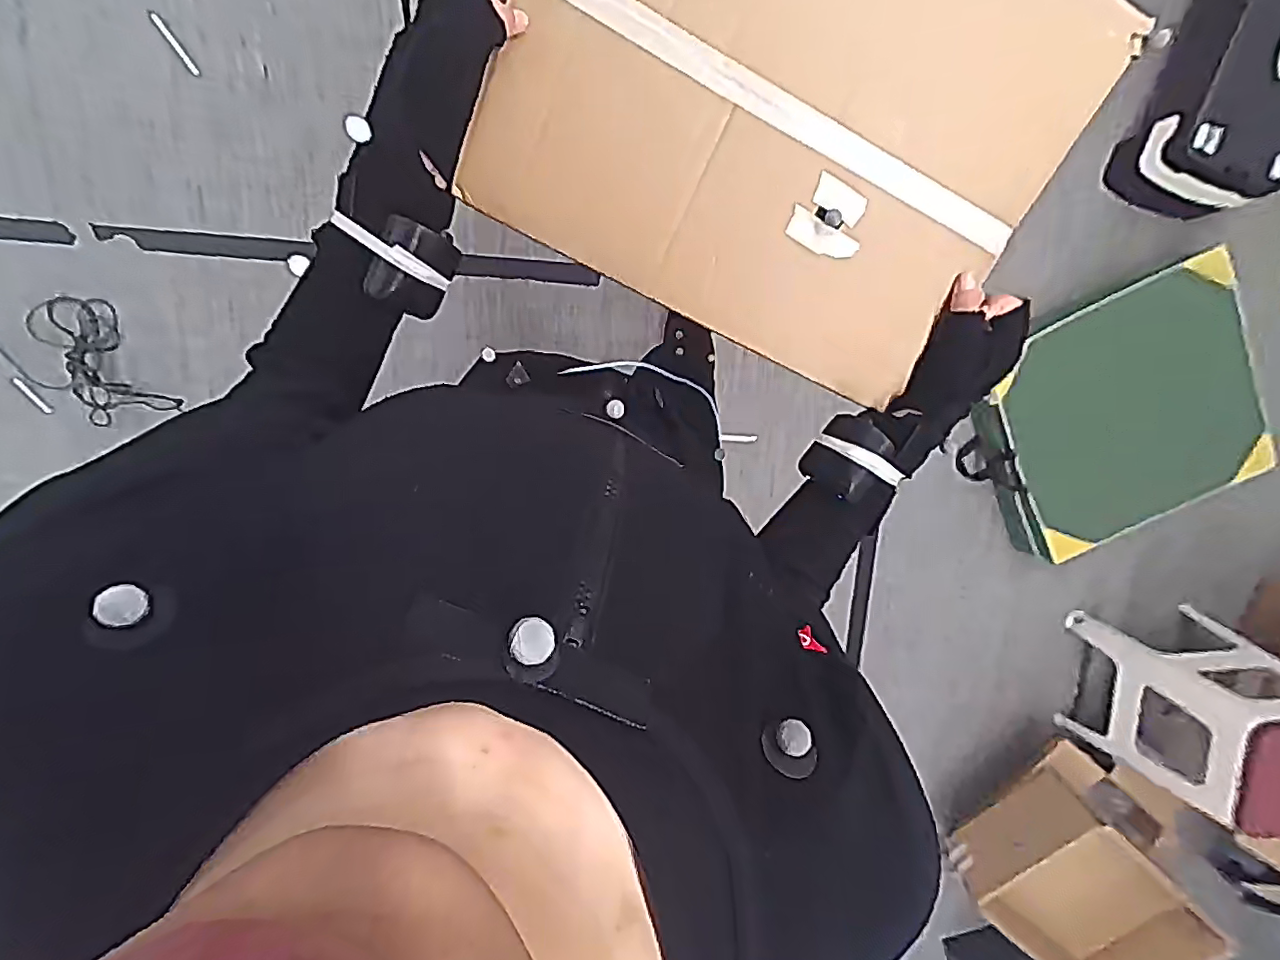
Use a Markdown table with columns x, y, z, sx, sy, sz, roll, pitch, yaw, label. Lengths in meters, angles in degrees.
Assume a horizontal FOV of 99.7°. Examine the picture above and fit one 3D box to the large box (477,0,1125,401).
| x | y | z | sx | sy | sz | roll | pitch | yaw | label |
| --- | --- | --- | --- | --- | --- | --- | --- | --- | --- |
| 0.107 | -0.330 | 0.543 | 0.408 | 0.320 | 0.320 | 24 | 112 | -12 | large box |
